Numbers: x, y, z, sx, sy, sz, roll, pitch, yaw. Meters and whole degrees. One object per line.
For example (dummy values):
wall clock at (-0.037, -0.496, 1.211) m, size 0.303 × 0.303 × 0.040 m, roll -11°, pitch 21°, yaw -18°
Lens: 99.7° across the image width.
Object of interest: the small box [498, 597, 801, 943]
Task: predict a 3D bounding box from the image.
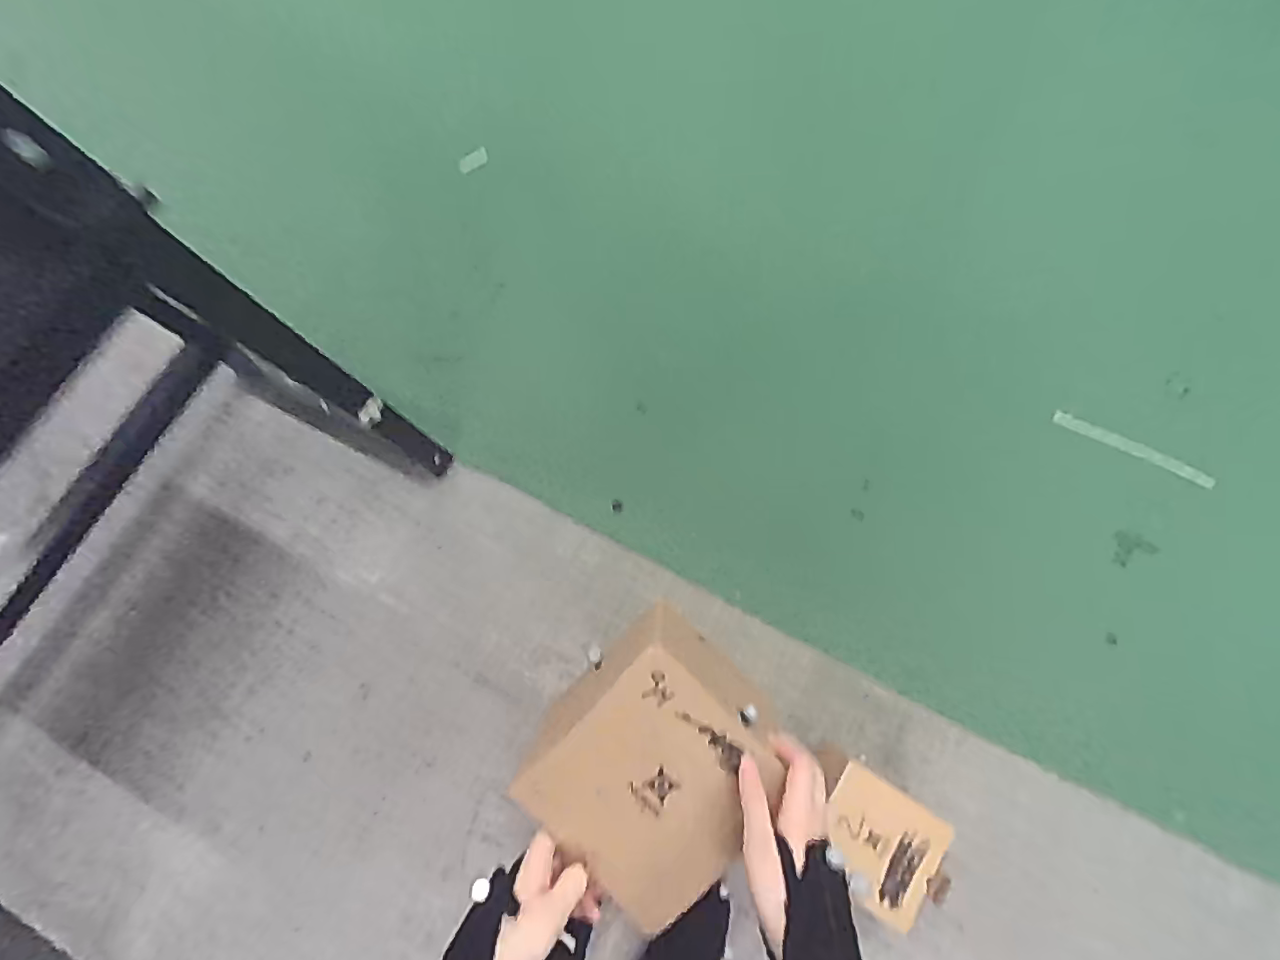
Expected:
small box at (0.012, 0.234, 0.486) m, size 0.179 × 0.176 × 0.168 m, roll -45°, pitch 87°, yaw 3°
